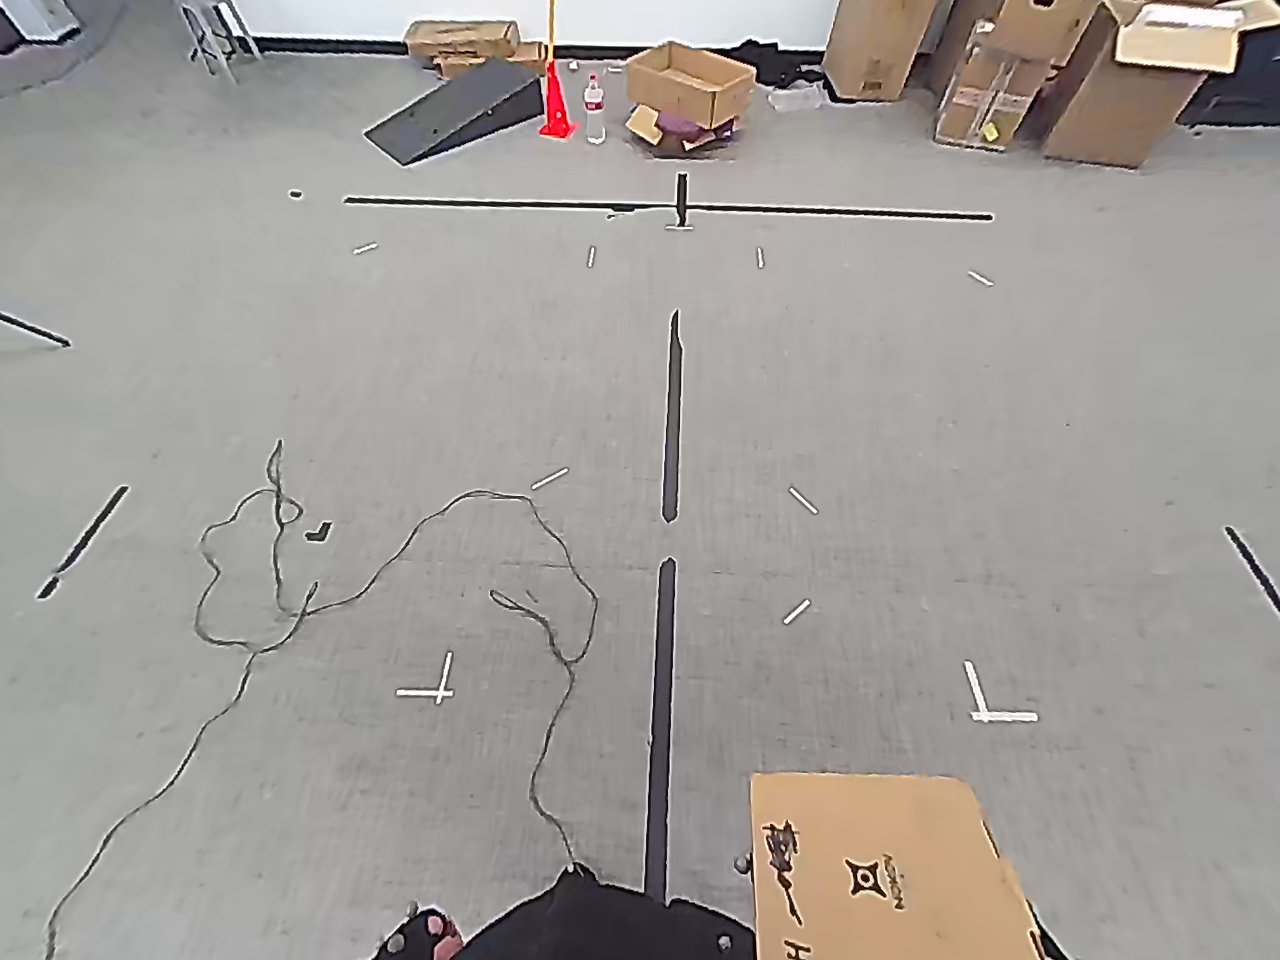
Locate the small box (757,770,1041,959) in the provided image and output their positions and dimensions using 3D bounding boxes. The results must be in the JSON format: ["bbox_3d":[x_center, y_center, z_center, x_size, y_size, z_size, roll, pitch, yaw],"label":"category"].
[{"bbox_3d":[0.184,0.363,0.423,0.179,0.176,0.168,-3,22,11],"label":"small box"}]
